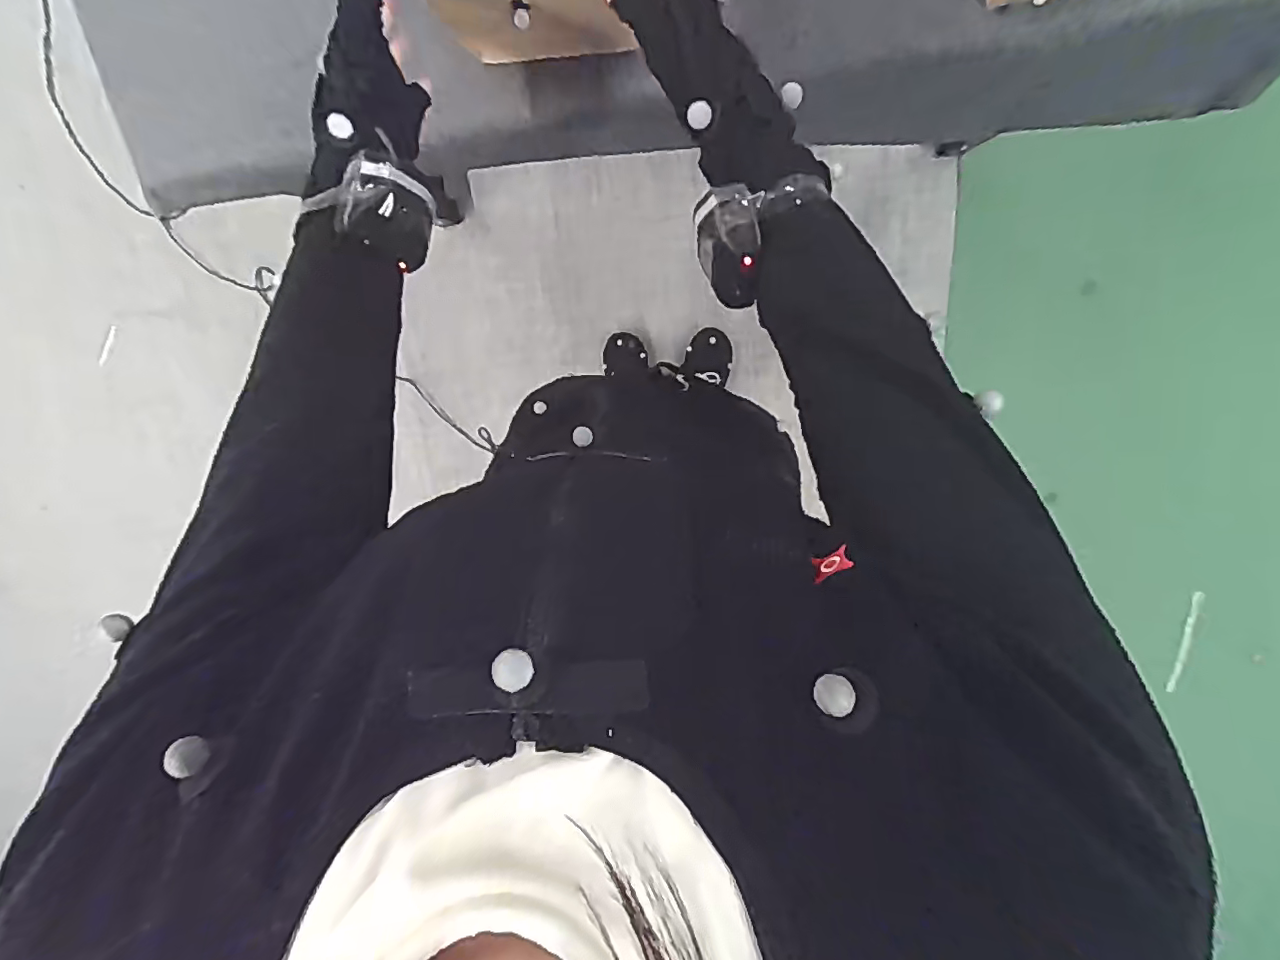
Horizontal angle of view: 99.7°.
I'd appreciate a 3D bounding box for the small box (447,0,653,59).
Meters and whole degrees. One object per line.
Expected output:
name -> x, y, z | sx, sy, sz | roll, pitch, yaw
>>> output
small box -> -0.086, -0.485, 0.451 | 0.179, 0.176, 0.168 | 0, 108, 7
